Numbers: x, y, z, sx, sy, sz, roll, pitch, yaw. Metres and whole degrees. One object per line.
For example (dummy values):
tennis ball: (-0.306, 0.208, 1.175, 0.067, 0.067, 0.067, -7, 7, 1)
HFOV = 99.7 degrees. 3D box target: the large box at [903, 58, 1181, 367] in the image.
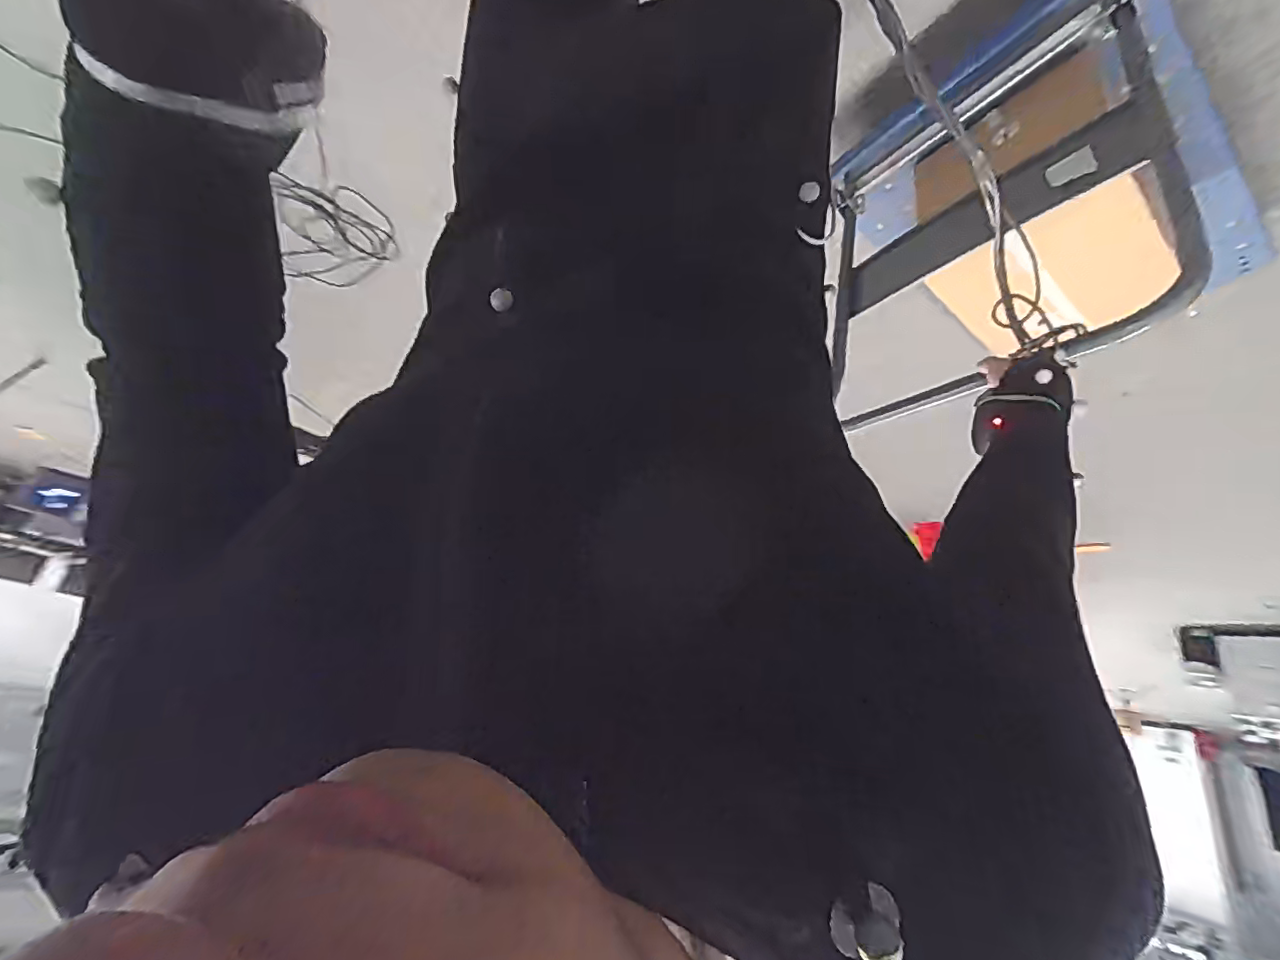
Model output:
large box: (0.785, -0.498, 1.085, 0.408, 0.320, 0.320, 24, 153, -31)
